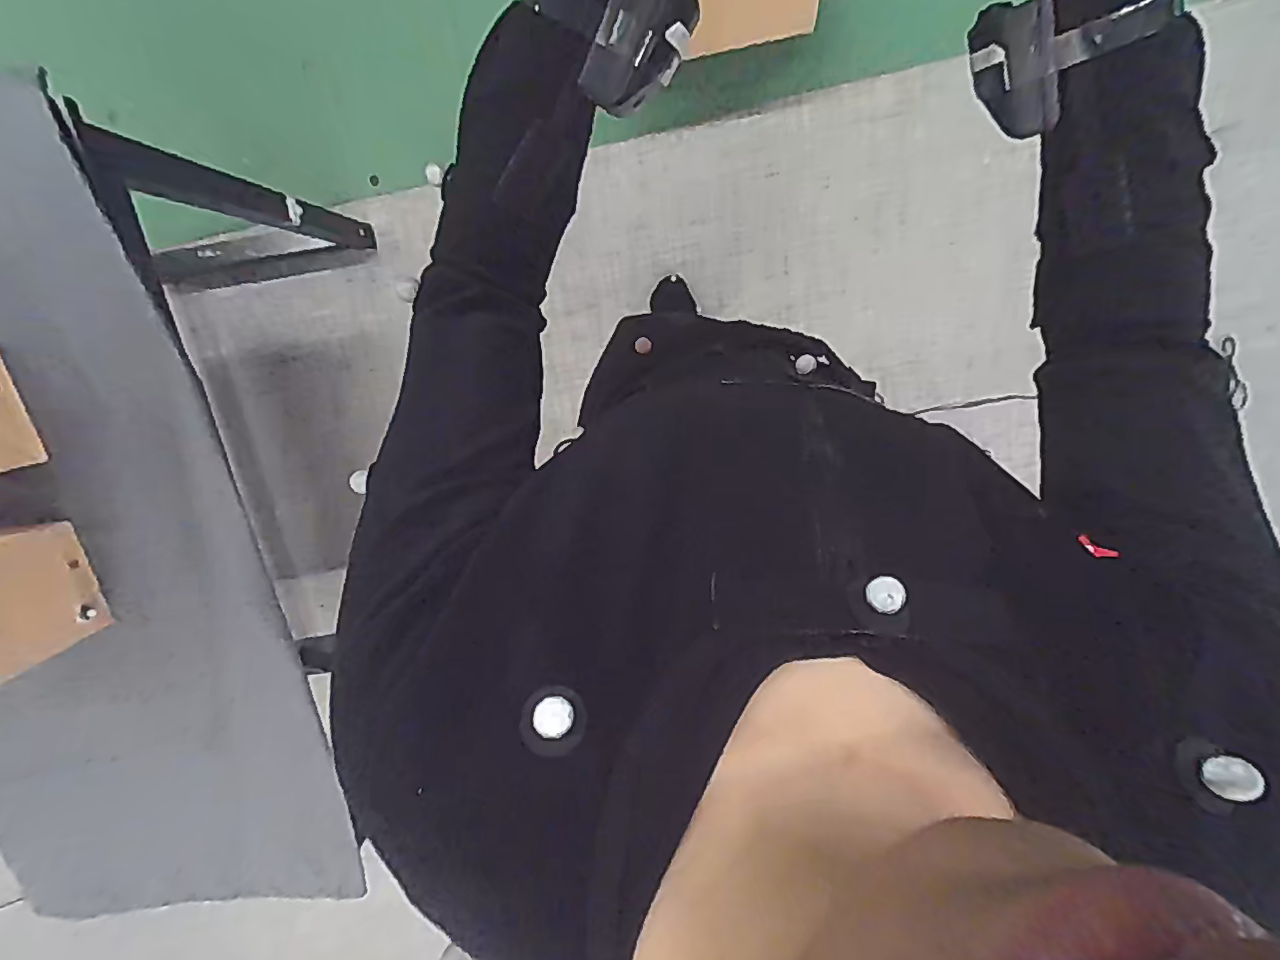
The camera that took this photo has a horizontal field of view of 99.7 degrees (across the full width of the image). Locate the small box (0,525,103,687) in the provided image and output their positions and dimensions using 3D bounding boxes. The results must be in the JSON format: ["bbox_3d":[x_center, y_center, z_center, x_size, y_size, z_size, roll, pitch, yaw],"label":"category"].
[{"bbox_3d":[-0.877,0.167,0.714,0.179,0.176,0.168,-6,105,4],"label":"small box"}]
